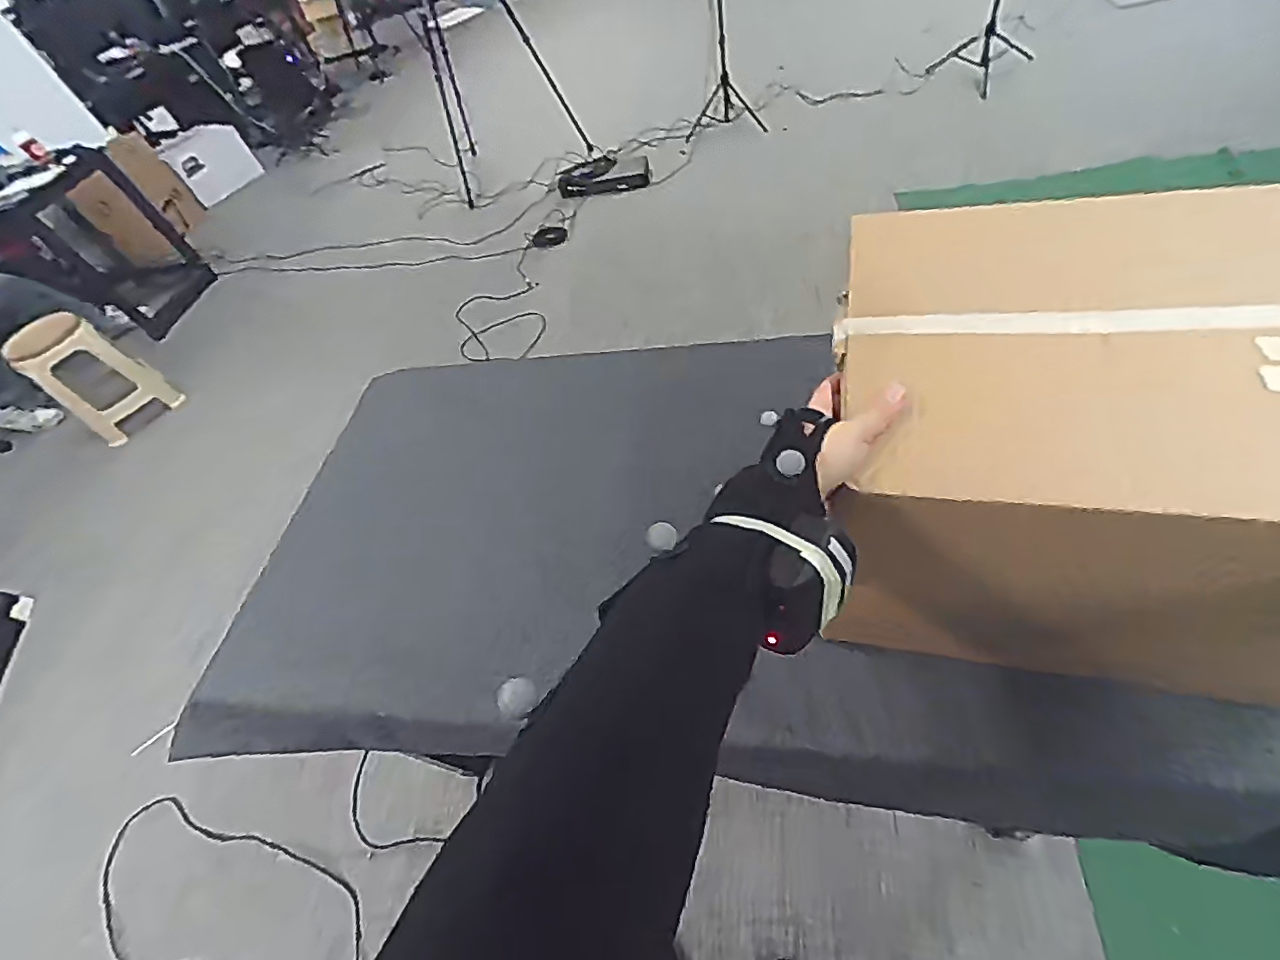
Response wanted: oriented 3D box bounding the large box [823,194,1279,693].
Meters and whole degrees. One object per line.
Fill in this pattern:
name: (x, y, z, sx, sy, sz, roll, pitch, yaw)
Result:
large box: (0.393, -0.025, 0.501, 0.408, 0.320, 0.320, 5, 59, 17)
